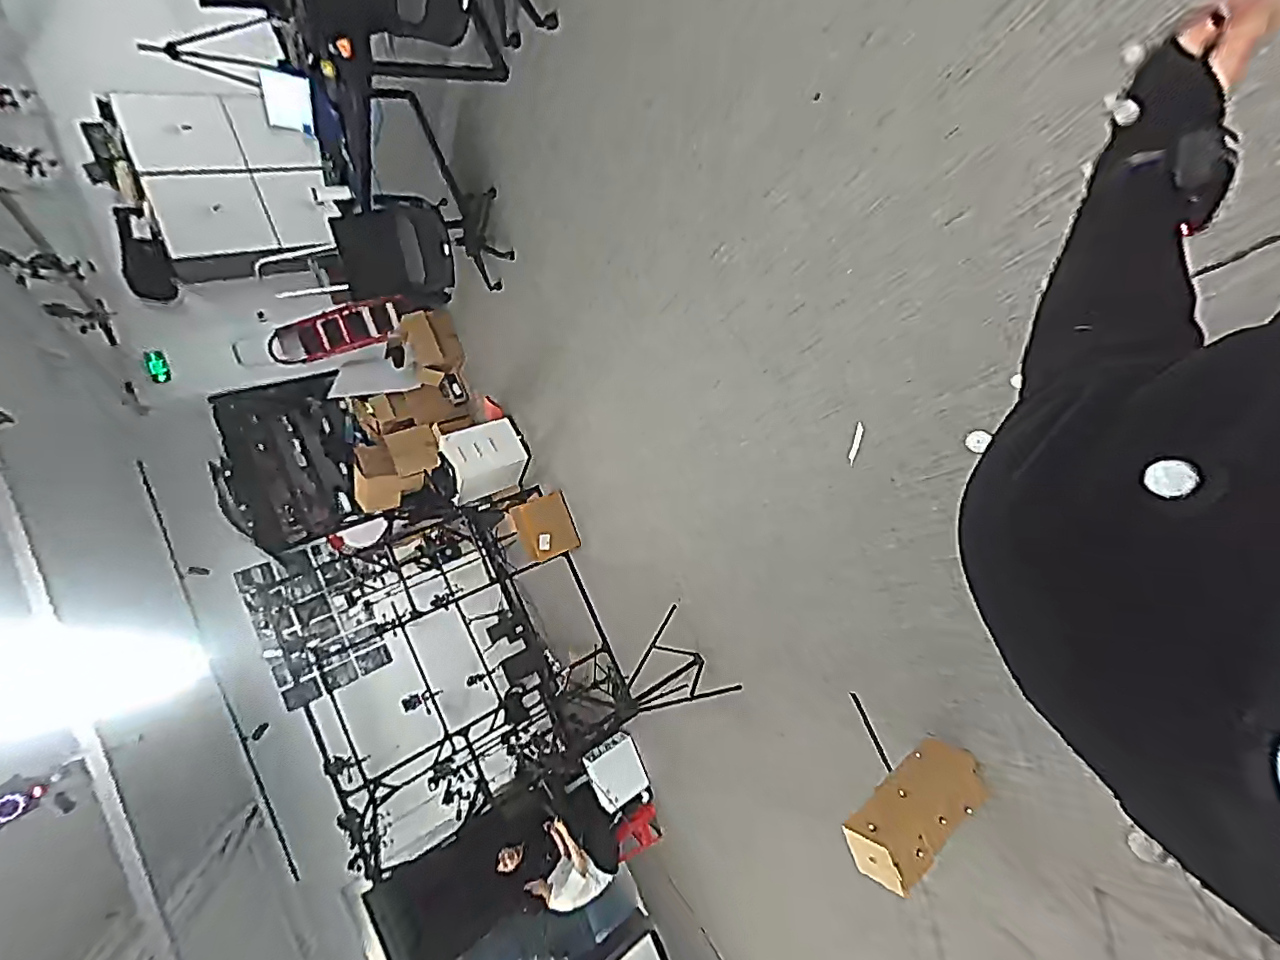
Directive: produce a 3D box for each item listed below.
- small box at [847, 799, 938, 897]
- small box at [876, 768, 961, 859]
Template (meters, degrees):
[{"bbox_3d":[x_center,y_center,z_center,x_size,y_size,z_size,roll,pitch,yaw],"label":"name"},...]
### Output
[{"bbox_3d":[0.801,1.155,1.718,0.179,0.176,0.168,-17,95,61],"label":"small box"},{"bbox_3d":[0.931,1.096,1.795,0.179,0.176,0.168,-16,95,61],"label":"small box"}]
